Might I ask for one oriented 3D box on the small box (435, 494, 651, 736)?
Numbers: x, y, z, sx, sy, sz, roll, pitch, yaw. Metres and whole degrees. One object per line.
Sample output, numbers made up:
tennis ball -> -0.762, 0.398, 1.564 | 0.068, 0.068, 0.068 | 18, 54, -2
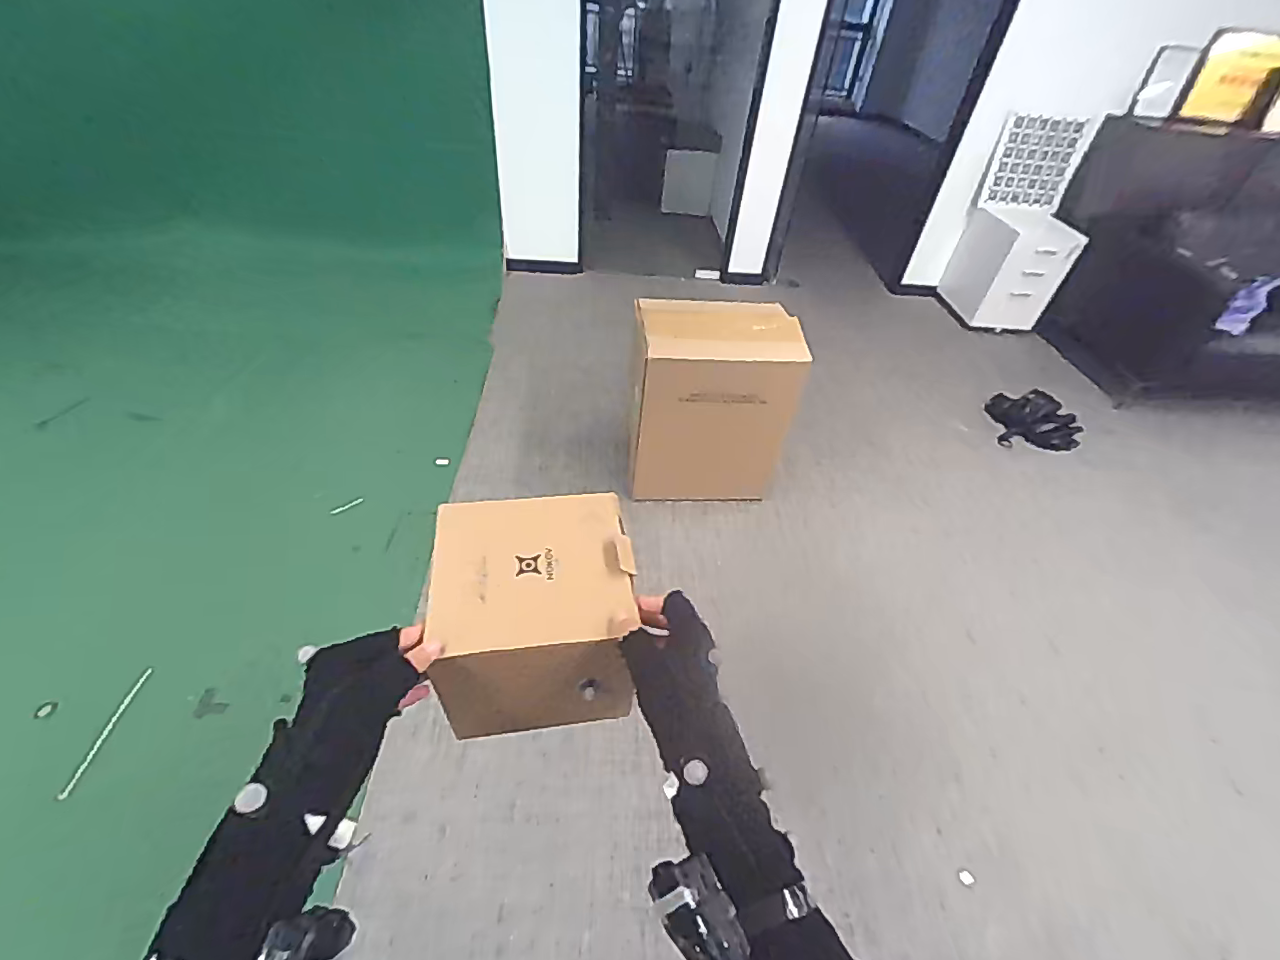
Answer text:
small box -> -0.094, 0.135, 0.547 | 0.179, 0.176, 0.168 | -6, 44, -9
